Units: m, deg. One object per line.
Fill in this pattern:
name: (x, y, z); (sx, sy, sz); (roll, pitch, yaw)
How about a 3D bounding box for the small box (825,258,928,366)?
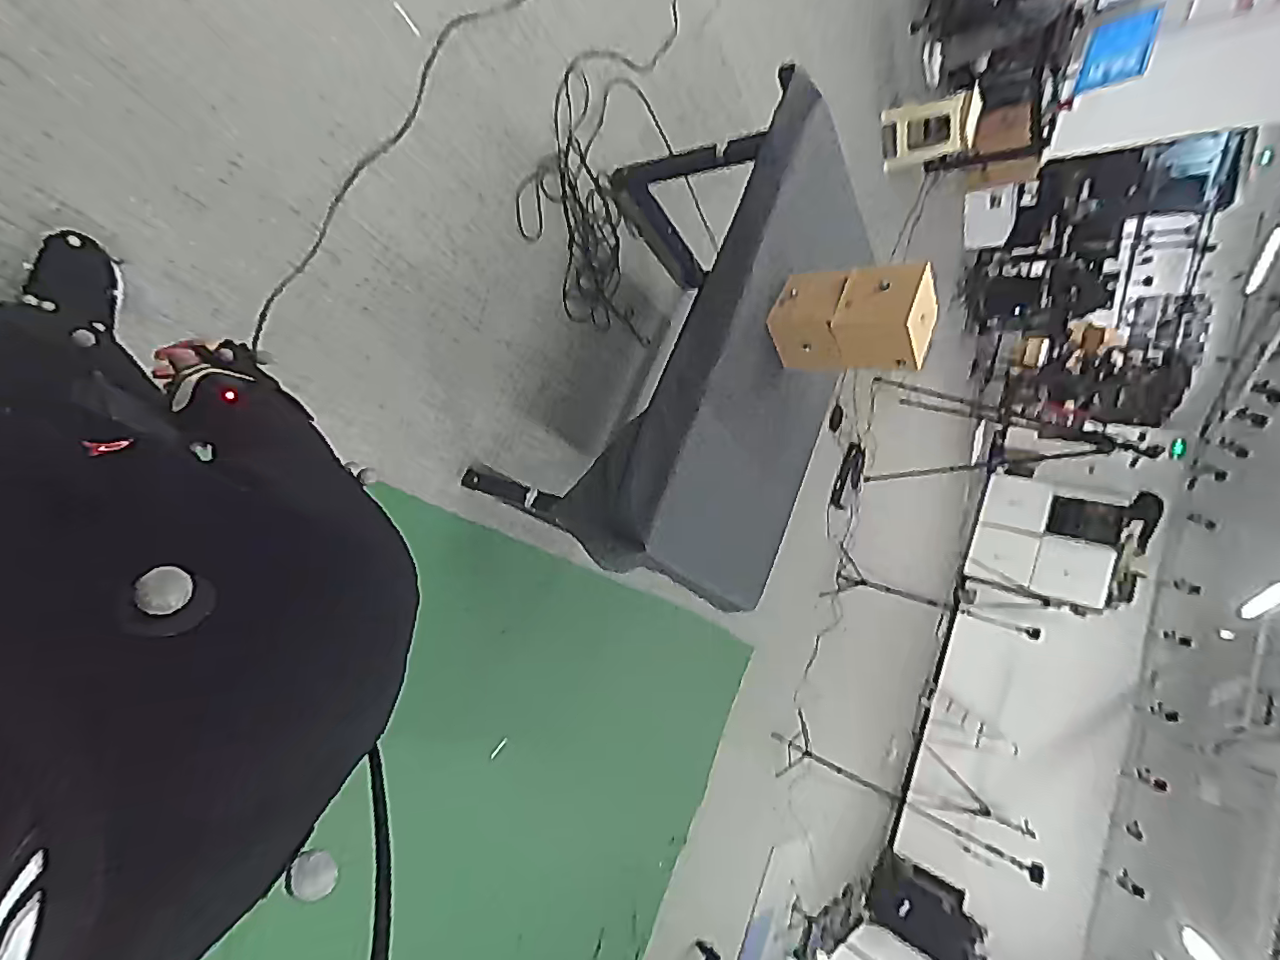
small box: (0.545, -0.381, 1.248); (0.179, 0.176, 0.168); (39, 70, -49)
